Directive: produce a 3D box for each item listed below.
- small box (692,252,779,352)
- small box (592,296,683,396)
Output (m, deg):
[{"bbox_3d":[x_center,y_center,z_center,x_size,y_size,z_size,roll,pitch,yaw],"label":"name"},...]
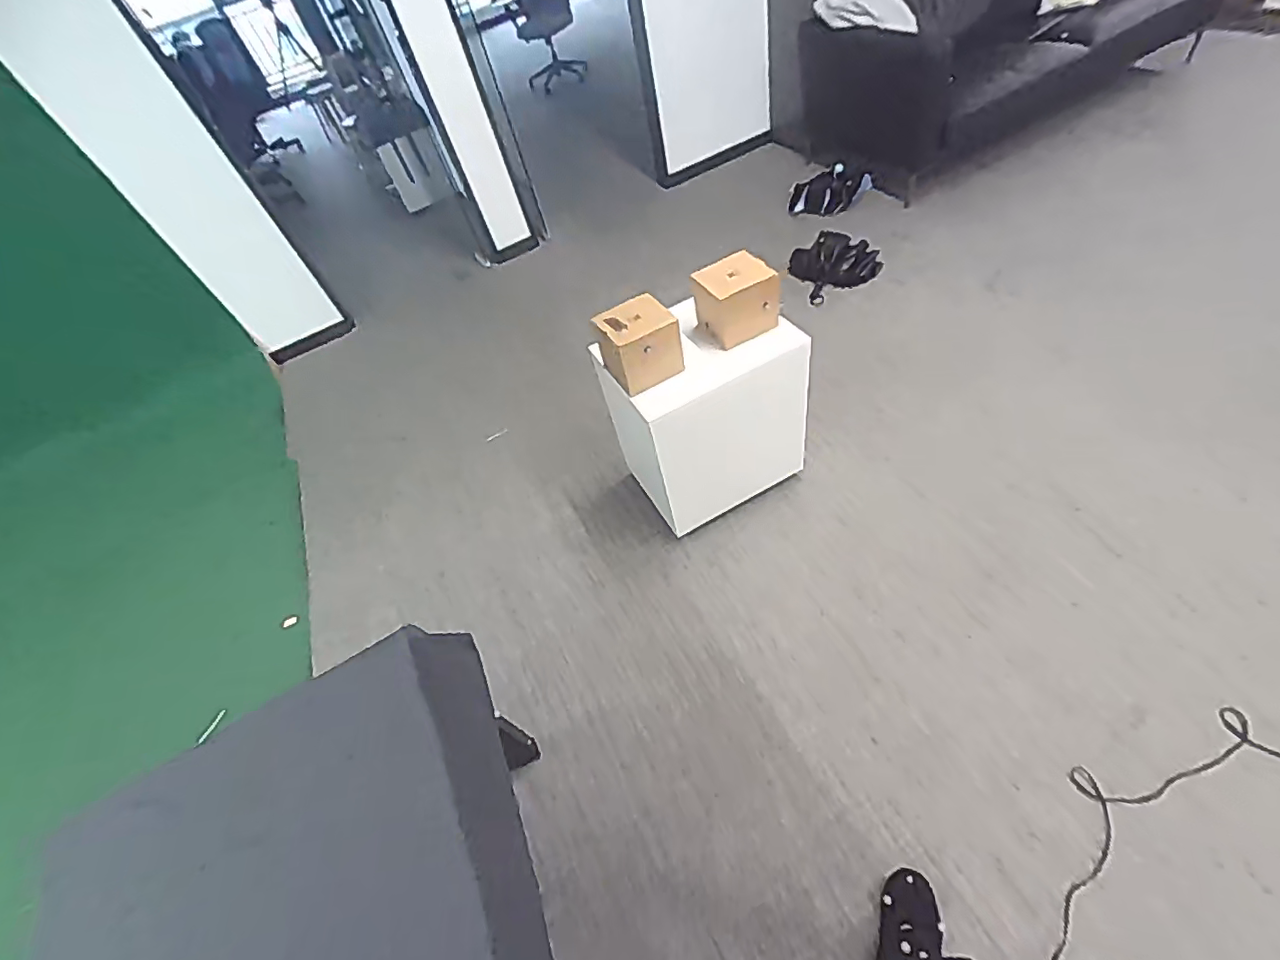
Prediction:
[{"bbox_3d":[0.263,-0.487,1.485,0.179,0.176,0.168,-27,49,-6],"label":"small box"},{"bbox_3d":[-0.001,-0.354,1.442,0.179,0.176,0.168,-28,50,-11],"label":"small box"}]
